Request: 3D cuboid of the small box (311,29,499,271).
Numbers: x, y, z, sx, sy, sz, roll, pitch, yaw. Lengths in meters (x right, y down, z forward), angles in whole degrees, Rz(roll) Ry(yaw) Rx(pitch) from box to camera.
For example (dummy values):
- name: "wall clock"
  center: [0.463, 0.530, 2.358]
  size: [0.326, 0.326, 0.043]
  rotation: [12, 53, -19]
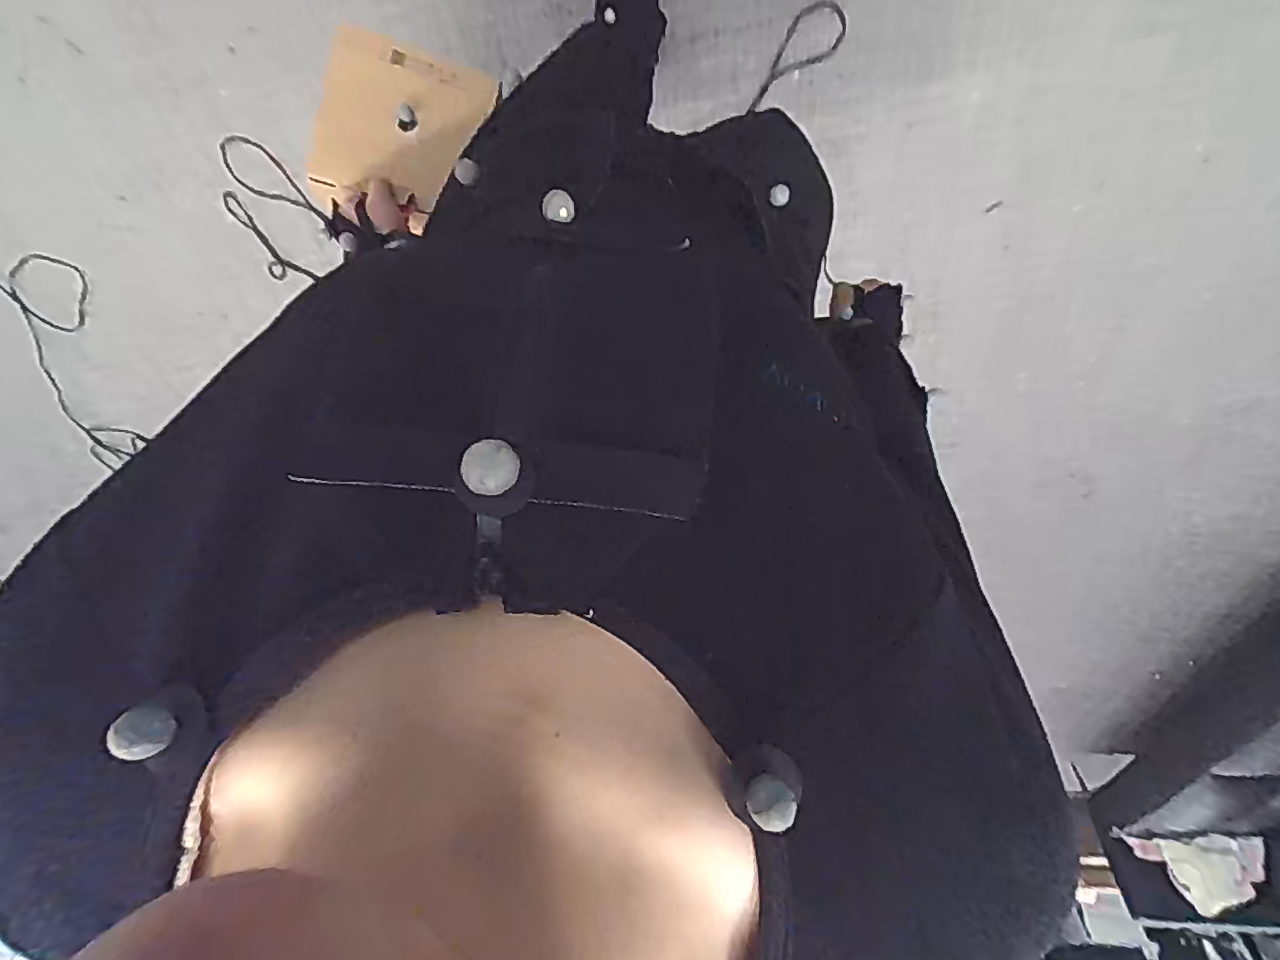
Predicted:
- name: "small box"
  center: [-0.268, -0.380, 0.651]
  size: [0.168, 0.179, 0.176]
  rotation: [11, 91, -14]
